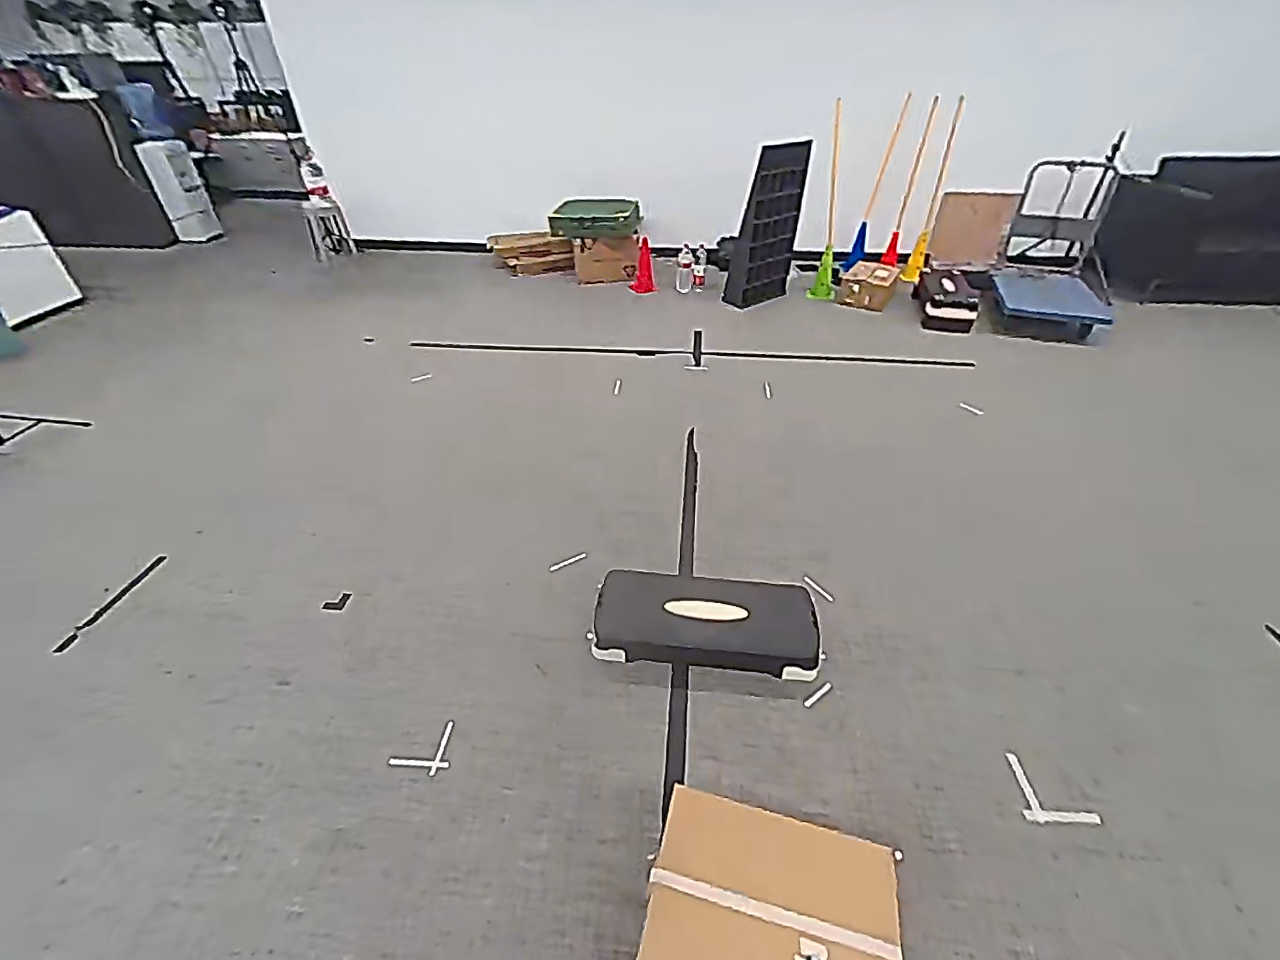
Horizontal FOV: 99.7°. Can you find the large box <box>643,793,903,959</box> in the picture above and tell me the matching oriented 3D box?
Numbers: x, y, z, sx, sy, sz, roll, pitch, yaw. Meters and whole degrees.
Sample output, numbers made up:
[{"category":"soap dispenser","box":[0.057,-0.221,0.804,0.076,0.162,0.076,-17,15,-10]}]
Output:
[{"category":"large box","box":[0.219,0.839,0.977,0.408,0.320,0.320,10,39,12]}]
